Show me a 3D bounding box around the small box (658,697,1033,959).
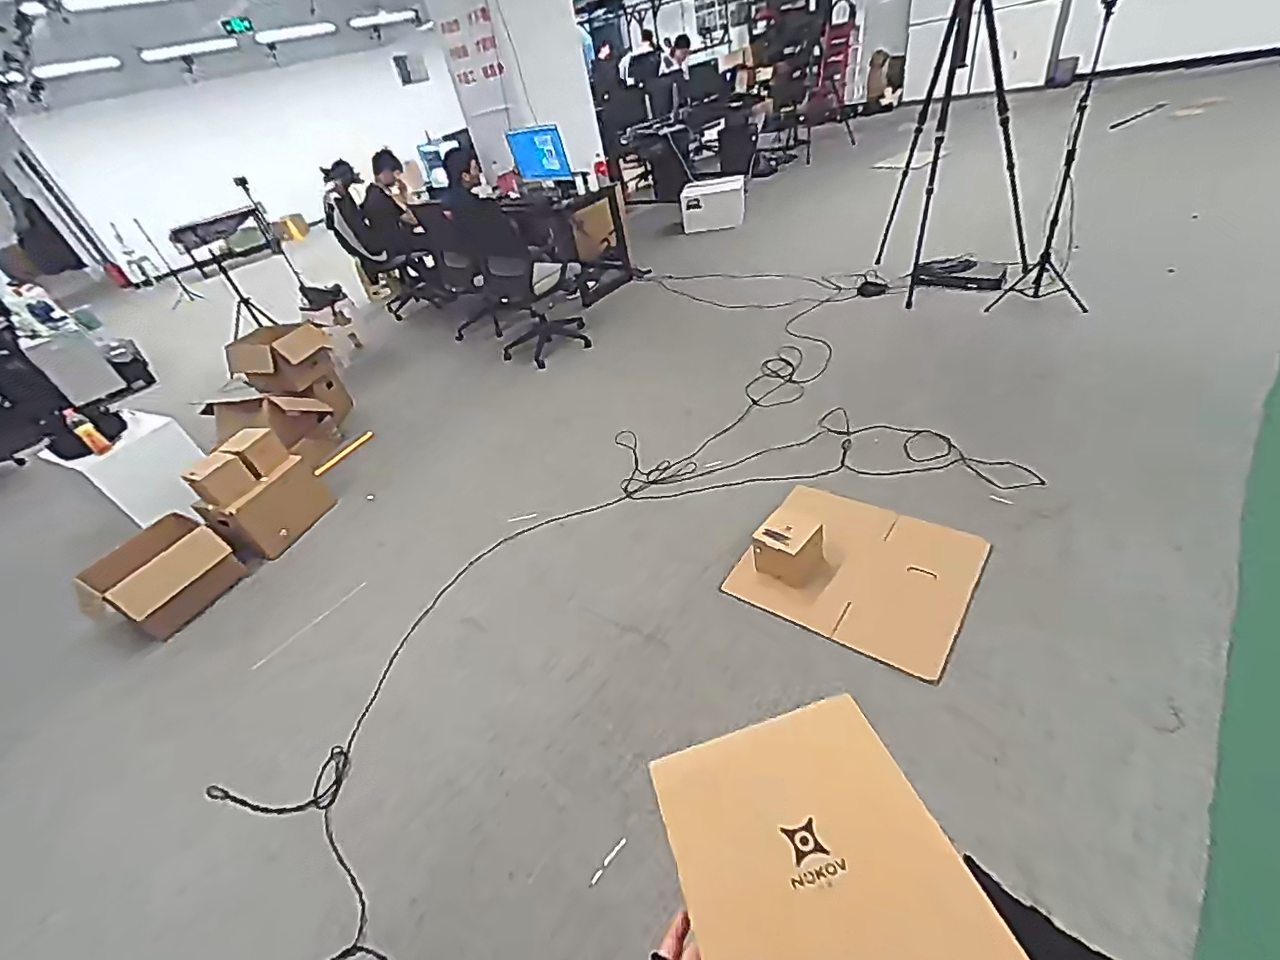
[{"bbox_3d":[0.121,0.297,0.383,0.168,0.176,0.179,-16,34,-7],"label":"small box"}]
